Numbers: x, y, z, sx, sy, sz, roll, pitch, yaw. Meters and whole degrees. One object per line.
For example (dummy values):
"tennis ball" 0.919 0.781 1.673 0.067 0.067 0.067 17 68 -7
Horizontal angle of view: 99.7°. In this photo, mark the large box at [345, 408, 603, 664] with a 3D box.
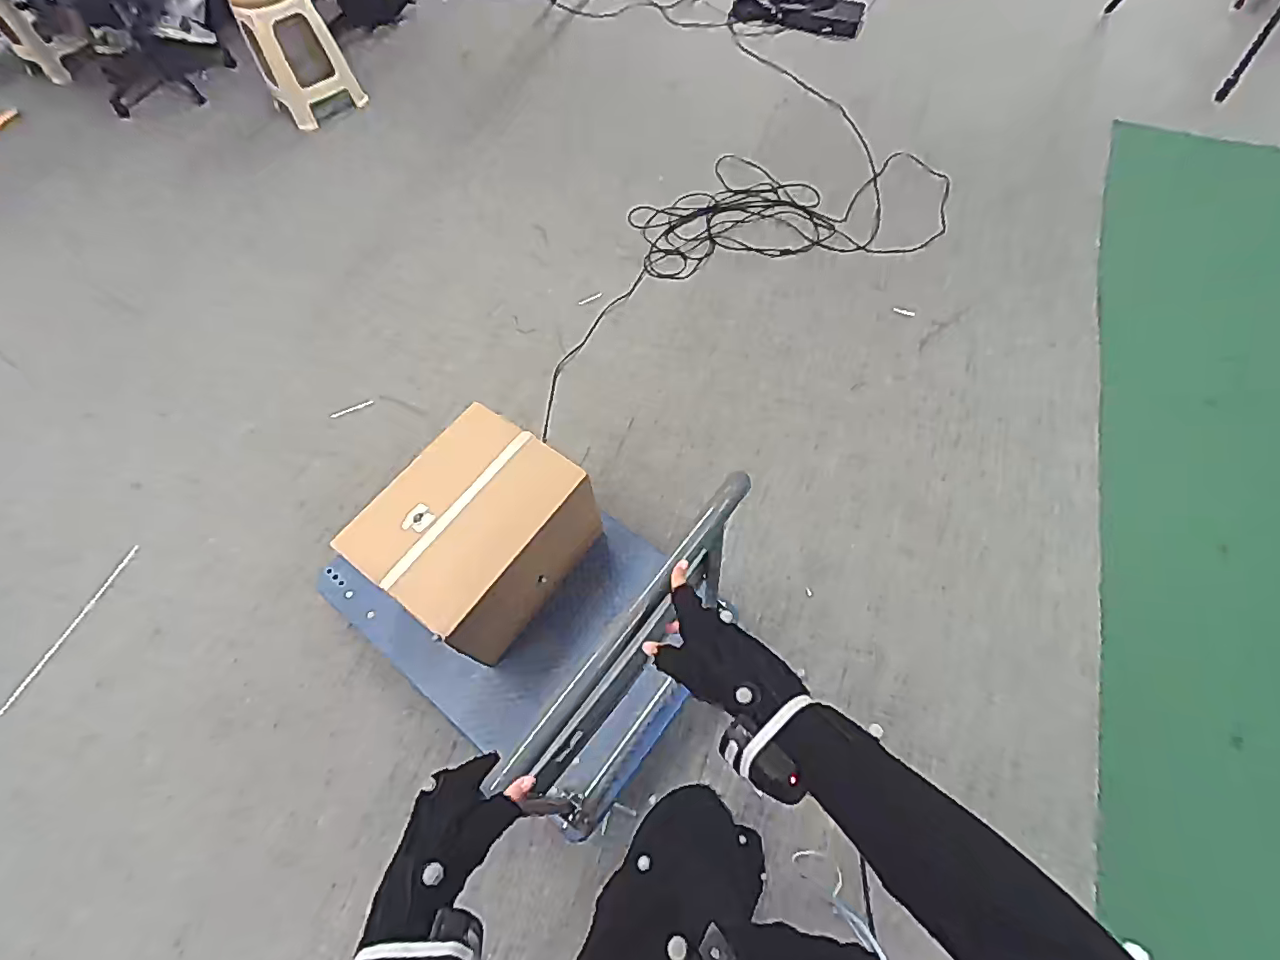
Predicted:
"large box" -0.324 0.128 1.188 0.320 0.320 0.408 30 69 17
